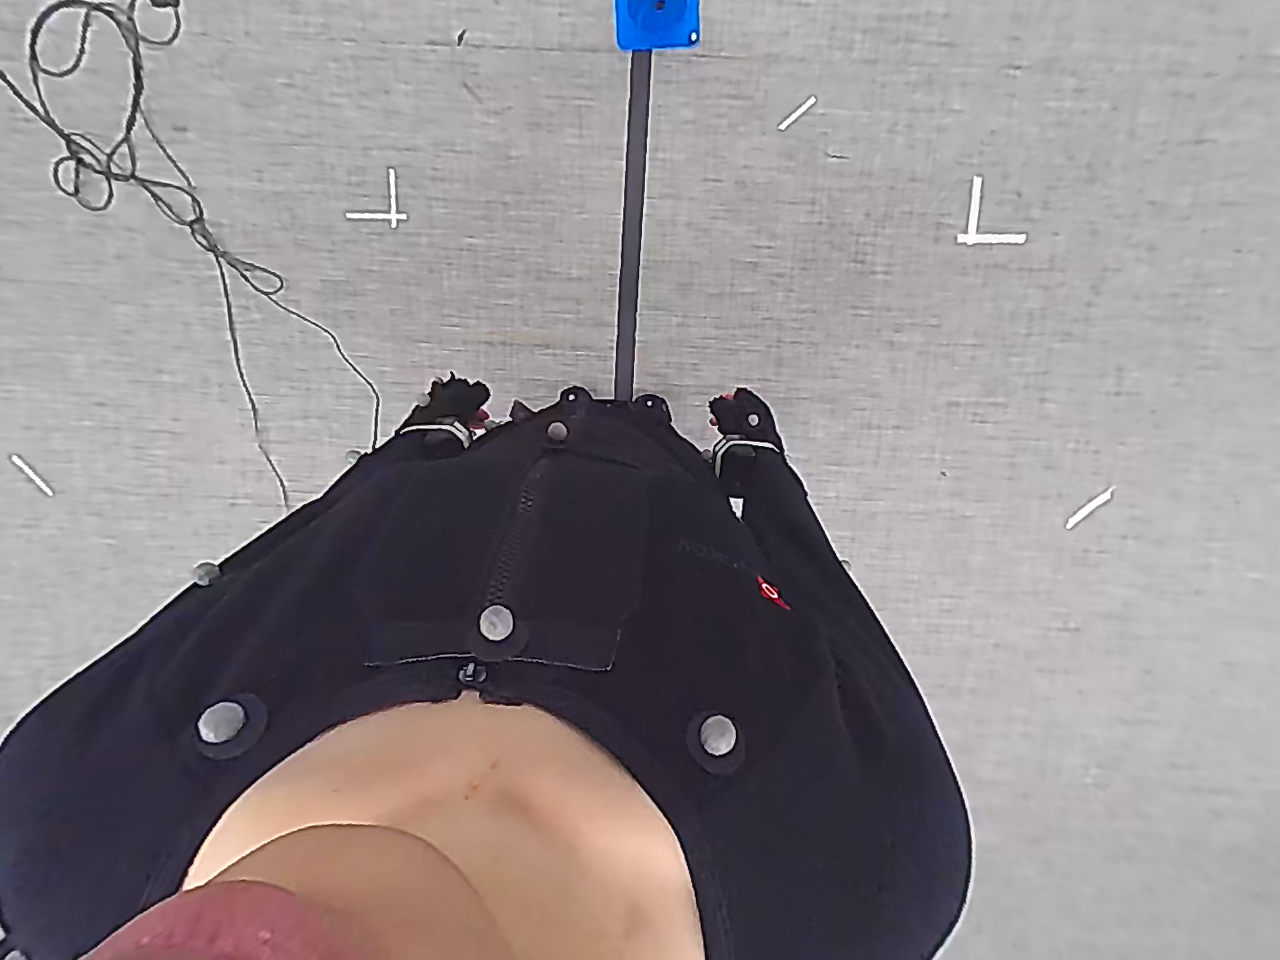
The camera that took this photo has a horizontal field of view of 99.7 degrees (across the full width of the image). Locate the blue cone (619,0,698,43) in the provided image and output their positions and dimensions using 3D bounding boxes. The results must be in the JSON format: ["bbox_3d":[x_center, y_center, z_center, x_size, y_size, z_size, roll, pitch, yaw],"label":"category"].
[{"bbox_3d":[0.047,-1.103,1.108,0.192,0.380,0.193,-1,101,-1],"label":"blue cone"}]
